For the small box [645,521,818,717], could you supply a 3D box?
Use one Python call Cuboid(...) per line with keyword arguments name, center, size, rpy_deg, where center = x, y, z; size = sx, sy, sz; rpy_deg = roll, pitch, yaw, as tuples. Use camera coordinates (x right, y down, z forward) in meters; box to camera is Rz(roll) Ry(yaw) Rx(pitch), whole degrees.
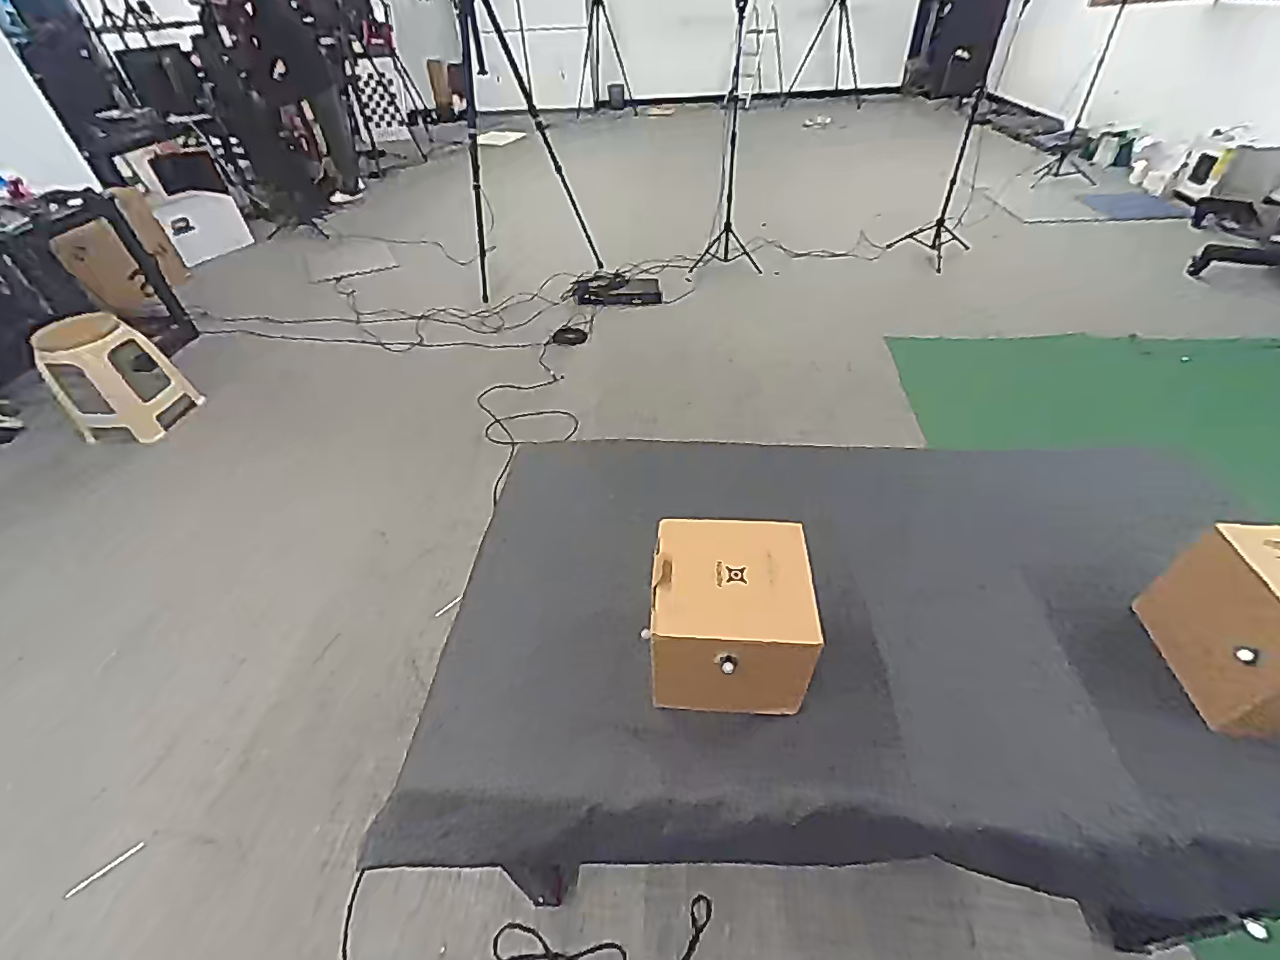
Cuboid(name="small box", center=(0.101, 0.168, 0.652), size=(0.179, 0.176, 0.168), rpy_deg=(3, 43, 4))
